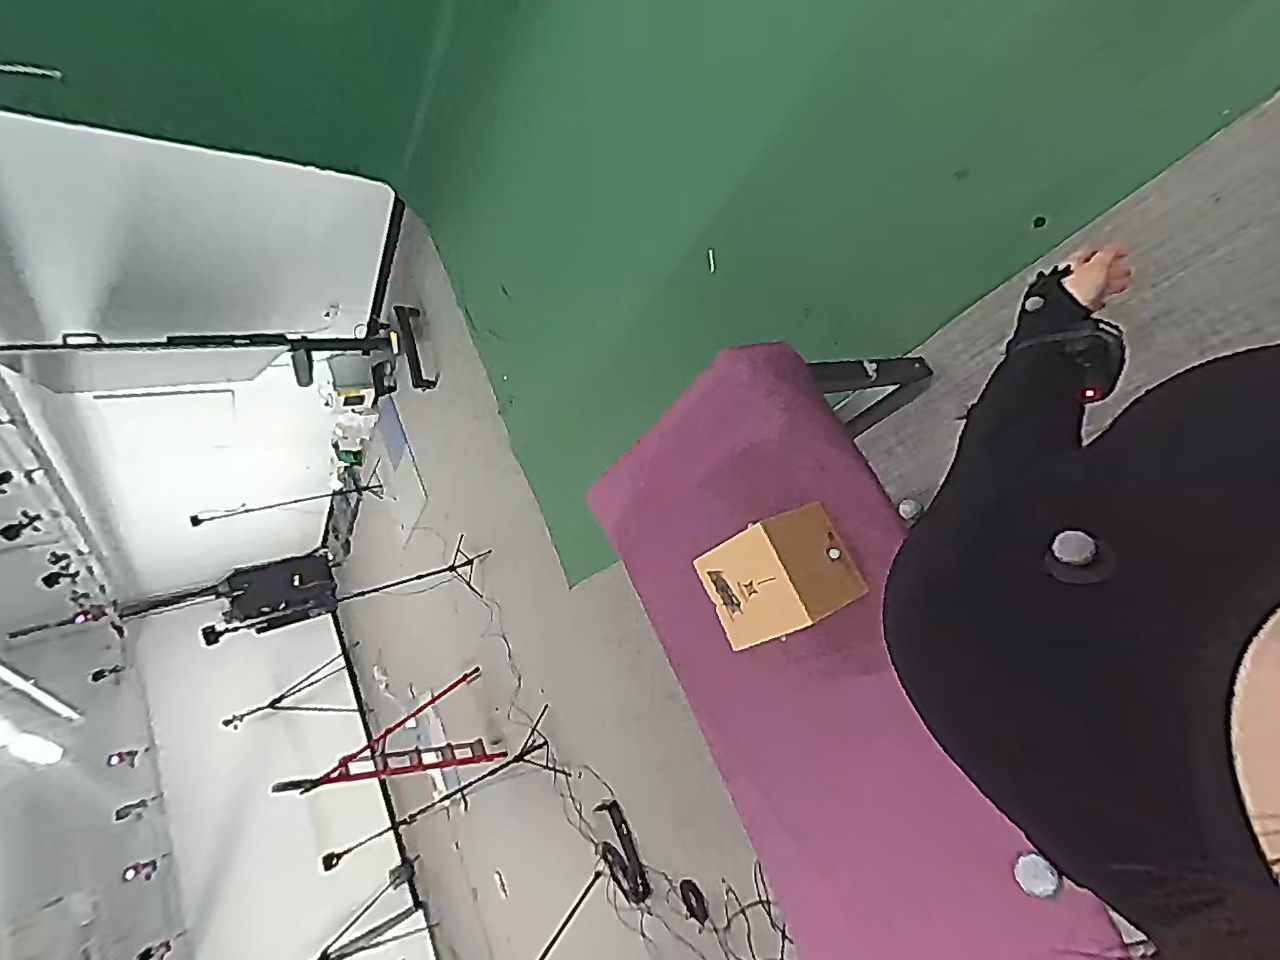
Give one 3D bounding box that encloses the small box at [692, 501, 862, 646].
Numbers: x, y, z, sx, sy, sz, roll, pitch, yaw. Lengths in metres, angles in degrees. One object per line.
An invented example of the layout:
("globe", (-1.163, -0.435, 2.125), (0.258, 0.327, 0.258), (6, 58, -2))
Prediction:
("small box", (0.225, 0.152, 0.896), (0.179, 0.176, 0.168), (-42, 68, 46))
